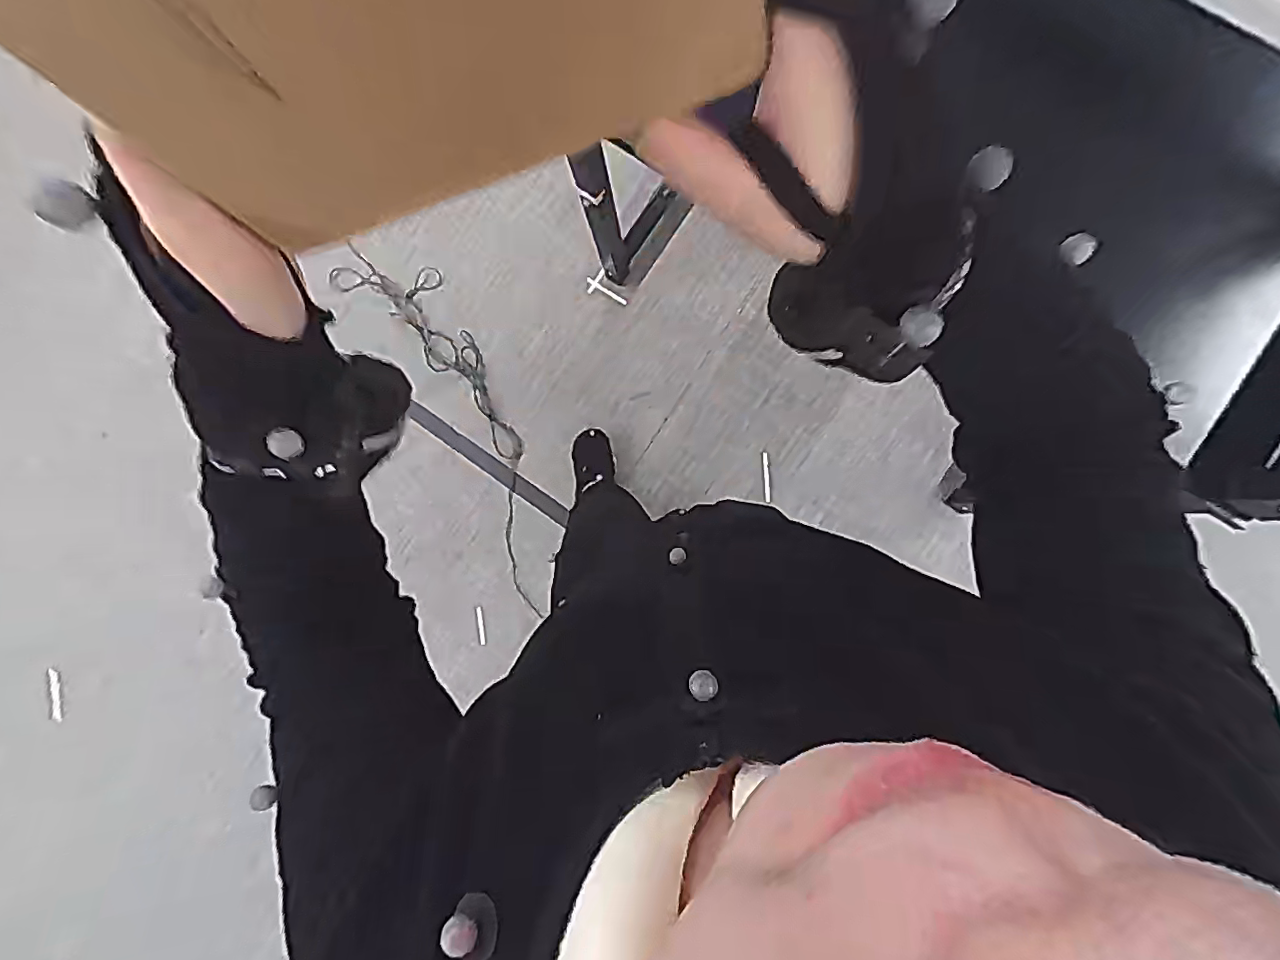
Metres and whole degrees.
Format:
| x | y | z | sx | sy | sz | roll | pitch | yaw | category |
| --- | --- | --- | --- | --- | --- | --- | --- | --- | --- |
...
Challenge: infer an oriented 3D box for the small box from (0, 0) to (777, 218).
| x | y | z | sx | sy | sz | roll | pitch | yaw | category |
| --- | --- | --- | --- | --- | --- | --- | --- | --- | --- |
| -0.077 | -0.200 | 0.108 | 0.179 | 0.168 | 0.176 | -12 | 73 | 12 | small box |
